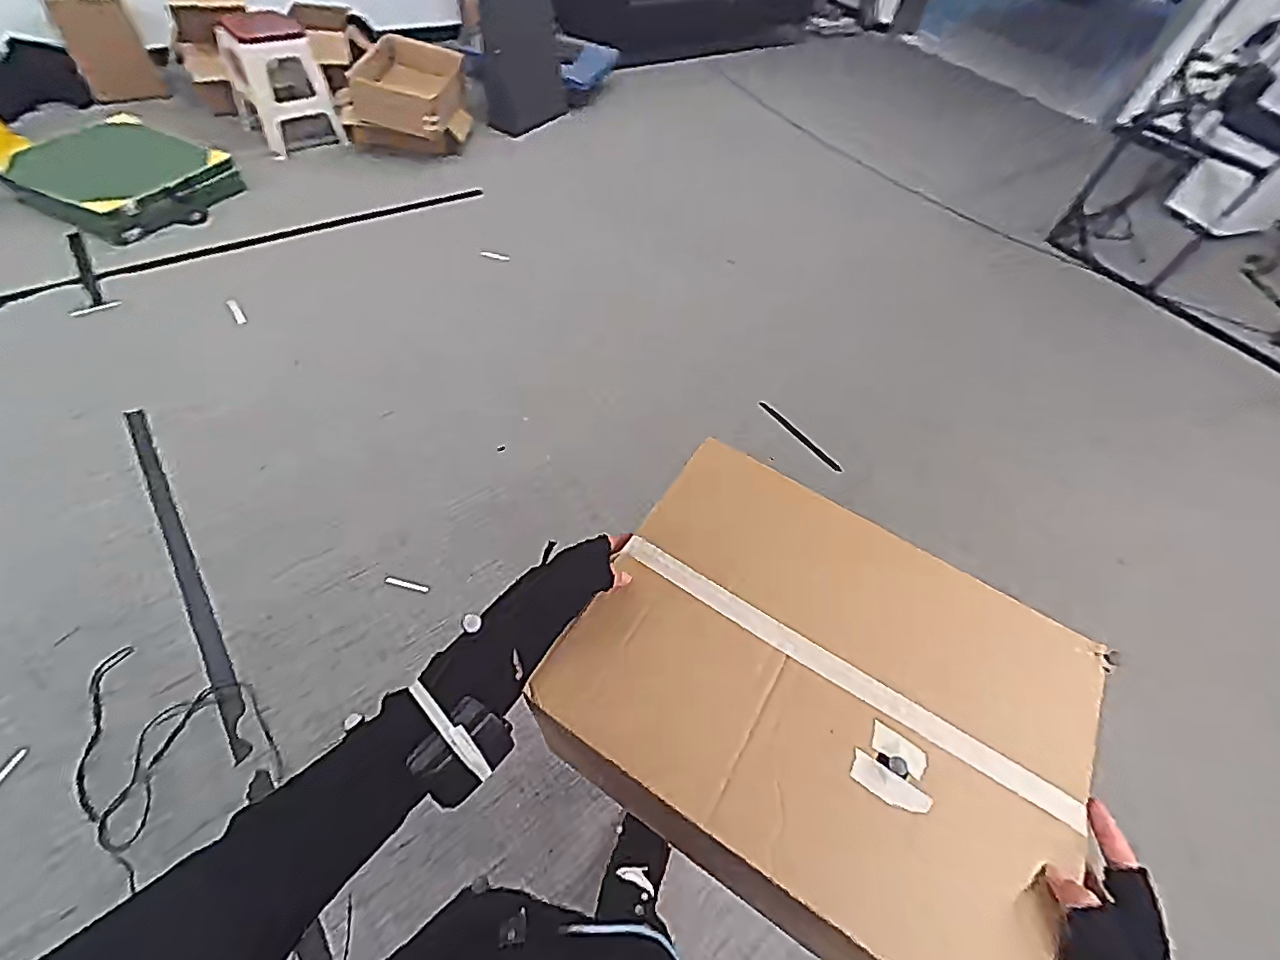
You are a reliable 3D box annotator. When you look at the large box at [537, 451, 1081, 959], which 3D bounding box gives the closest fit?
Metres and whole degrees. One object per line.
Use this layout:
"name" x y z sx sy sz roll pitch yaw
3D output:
"large box" 0.145 0.244 0.588 0.408 0.320 0.320 30 60 14
